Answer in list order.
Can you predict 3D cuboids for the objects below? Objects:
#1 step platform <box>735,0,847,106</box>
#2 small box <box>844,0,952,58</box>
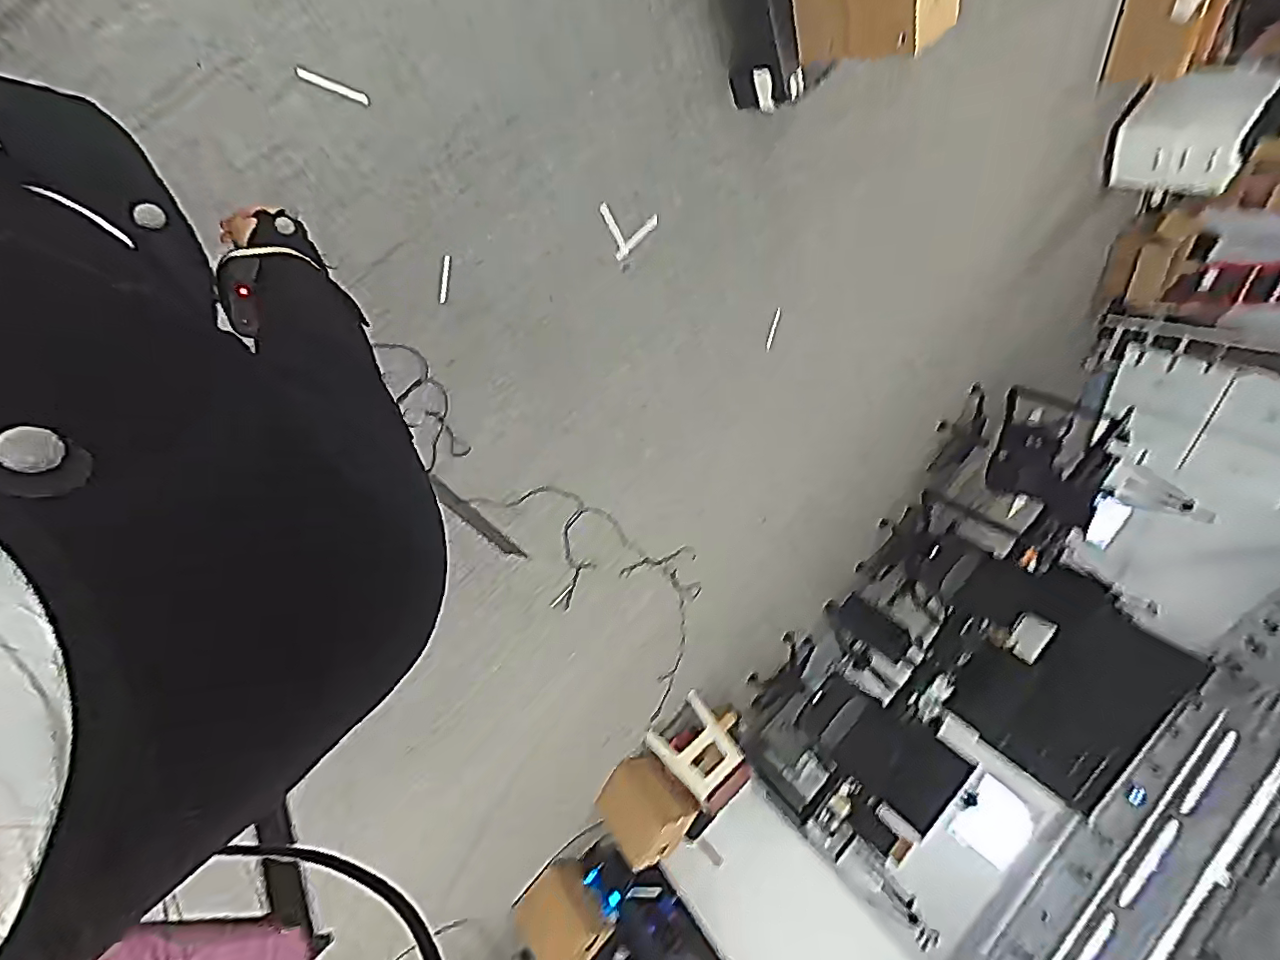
[{"bbox_3d":[0.328,-1.341,1.333,0.286,0.204,0.684,-46,138,-10],"label":"step platform"},{"bbox_3d":[0.579,-1.094,1.221,0.168,0.176,0.179,-44,139,-12],"label":"small box"}]
